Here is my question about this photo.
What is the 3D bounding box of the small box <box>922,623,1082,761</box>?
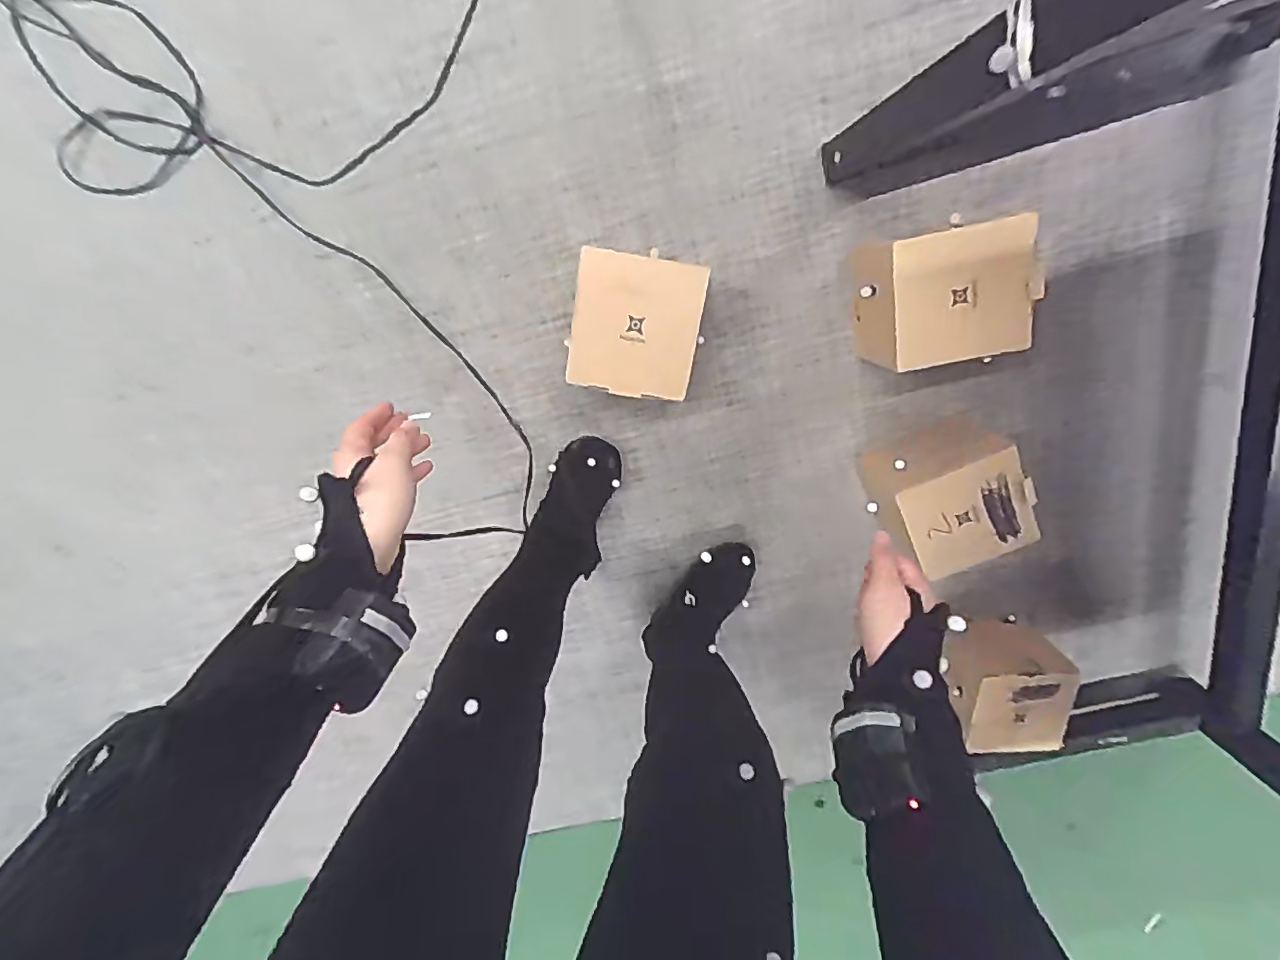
[{"bbox_3d":[0.641,0.377,0.983,0.168,0.176,0.179,-2,112,2],"label":"small box"}]

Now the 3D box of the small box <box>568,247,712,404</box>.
[{"bbox_3d":[-0.003,-0.222,0.774,0.168,0.176,0.179,9,109,-4],"label":"small box"}]

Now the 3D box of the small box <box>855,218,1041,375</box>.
[{"bbox_3d":[0.412,-0.252,0.756,0.179,0.176,0.168,-10,109,4],"label":"small box"}]
